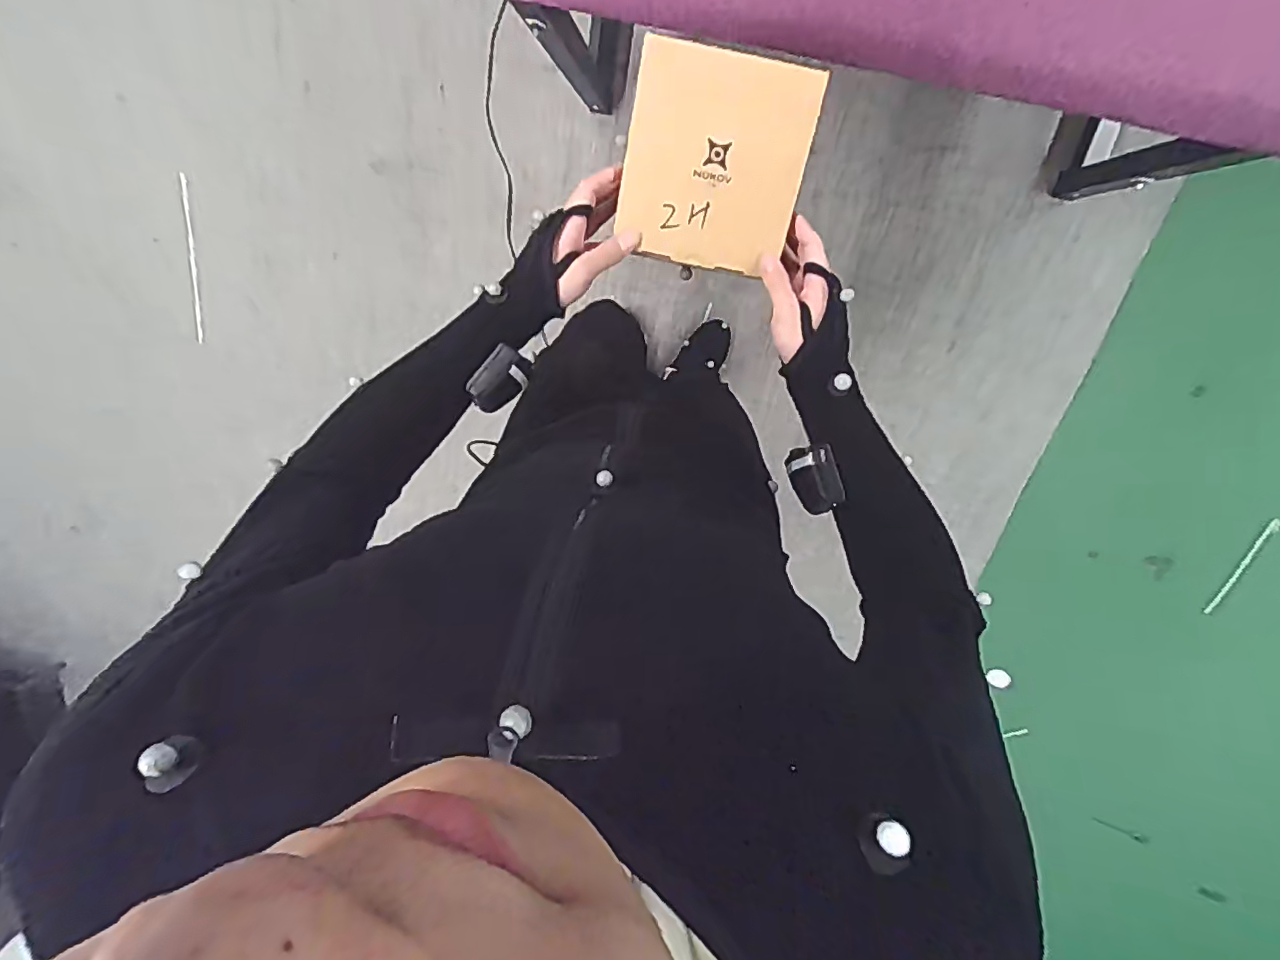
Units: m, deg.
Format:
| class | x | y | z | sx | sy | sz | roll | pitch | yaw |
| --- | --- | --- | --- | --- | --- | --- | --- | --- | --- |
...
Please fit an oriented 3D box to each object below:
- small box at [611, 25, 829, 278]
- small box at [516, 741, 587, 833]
| class | x | y | z | sx | sy | sz | roll | pitch | yaw |
| --- | --- | --- | --- | --- | --- | --- | --- | --- | --- |
| small box | 0.070 | -0.320 | 0.566 | 0.168 | 0.176 | 0.179 | 12 | 111 | -2 |
| small box | -0.275 | 0.973 | 1.725 | 0.168 | 0.176 | 0.179 | 19 | 112 | -2 |
